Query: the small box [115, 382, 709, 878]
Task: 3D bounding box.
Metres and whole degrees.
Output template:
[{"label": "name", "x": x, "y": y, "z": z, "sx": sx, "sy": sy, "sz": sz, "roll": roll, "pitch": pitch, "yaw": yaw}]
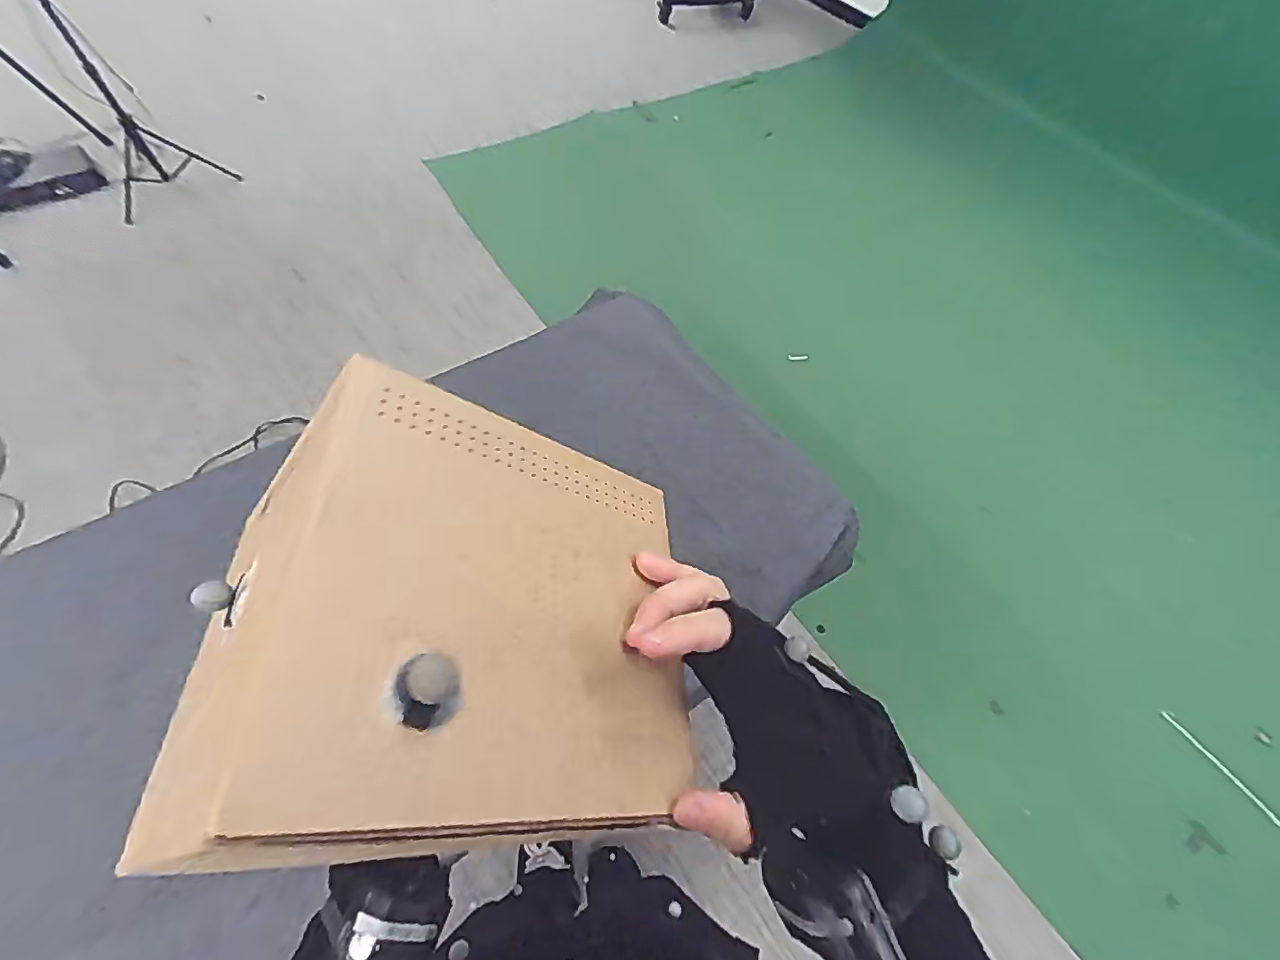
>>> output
[{"label": "small box", "x": -0.093, "y": 0.079, "z": 0.264, "sx": 0.179, "sy": 0.168, "sz": 0.176, "roll": 26, "pitch": 44, "yaw": -38}]
